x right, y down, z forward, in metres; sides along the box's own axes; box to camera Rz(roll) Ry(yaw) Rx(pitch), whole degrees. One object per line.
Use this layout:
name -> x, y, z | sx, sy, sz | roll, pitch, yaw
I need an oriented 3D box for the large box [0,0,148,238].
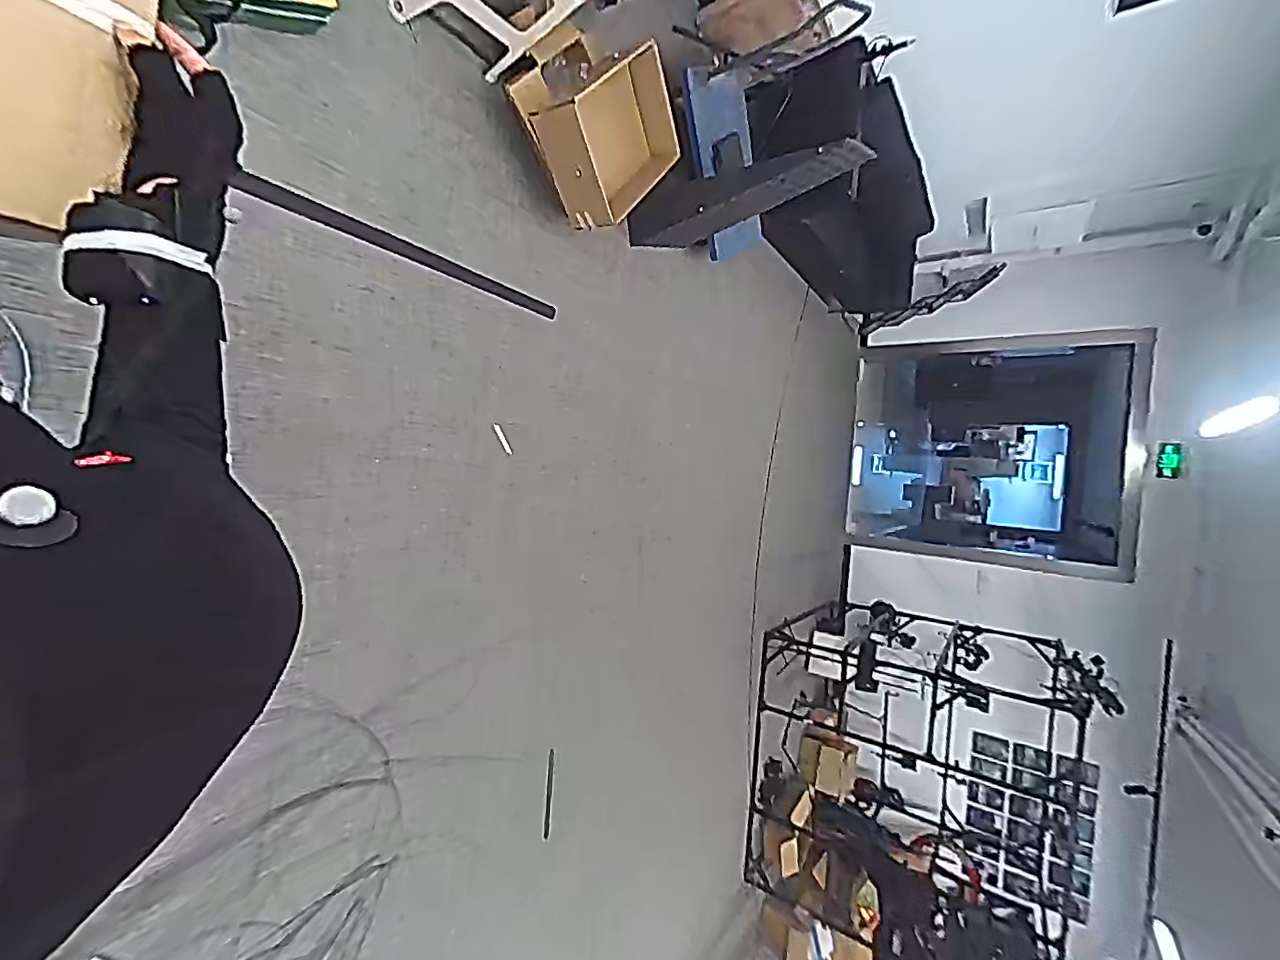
large box -> -0.613, -0.376, 0.322 | 0.408, 0.320, 0.320 | 0, 105, -60
